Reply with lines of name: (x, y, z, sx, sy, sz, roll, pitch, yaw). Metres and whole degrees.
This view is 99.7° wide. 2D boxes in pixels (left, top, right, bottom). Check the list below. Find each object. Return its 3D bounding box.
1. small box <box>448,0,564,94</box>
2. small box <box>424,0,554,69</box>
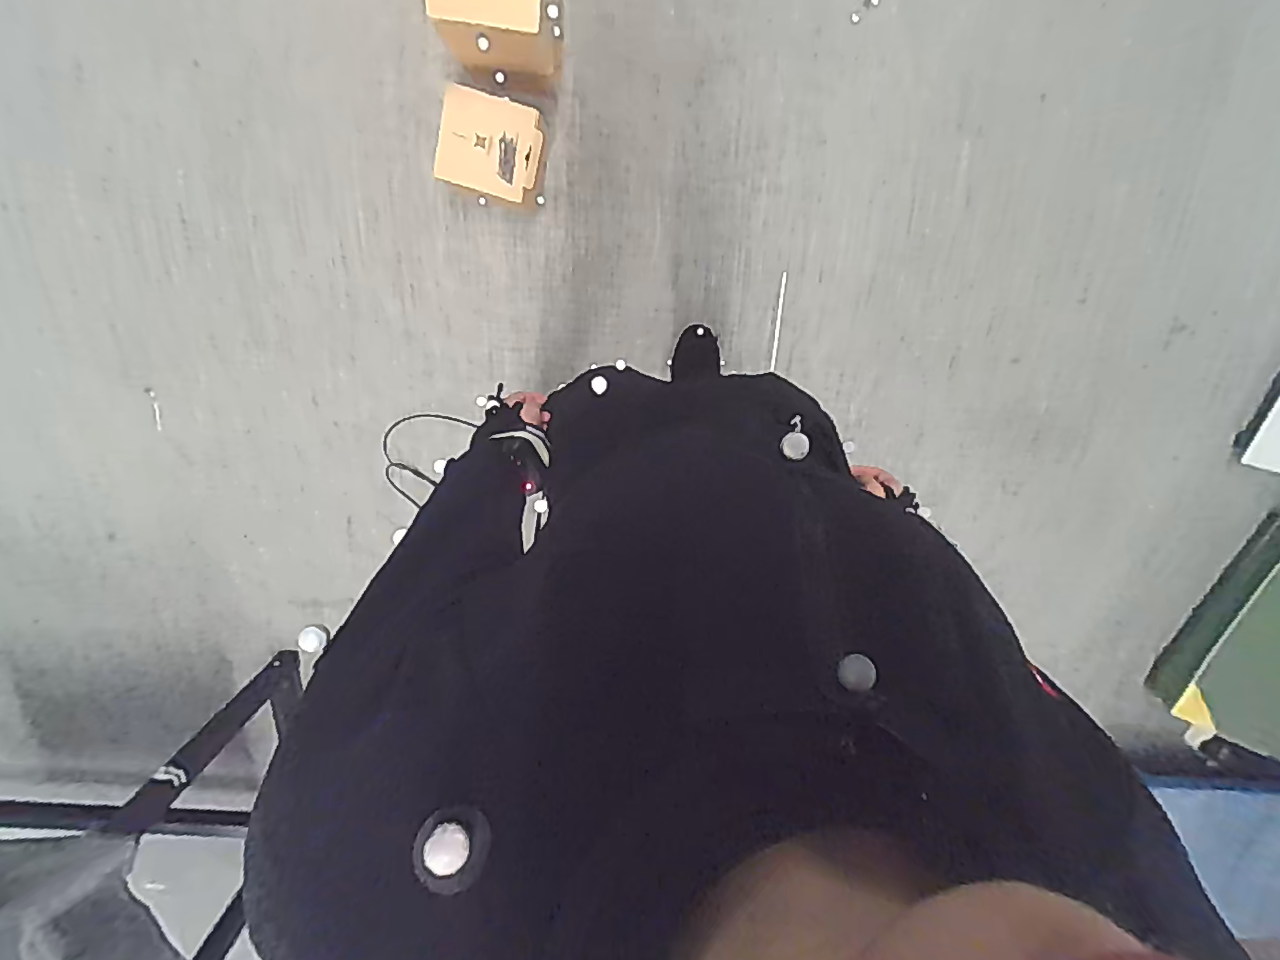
small box: (-0.248, -0.865, 1.027, 0.179, 0.176, 0.168, 7, 108, -2)
small box: (-0.234, -0.801, 0.877, 0.179, 0.176, 0.168, 7, 109, -2)
